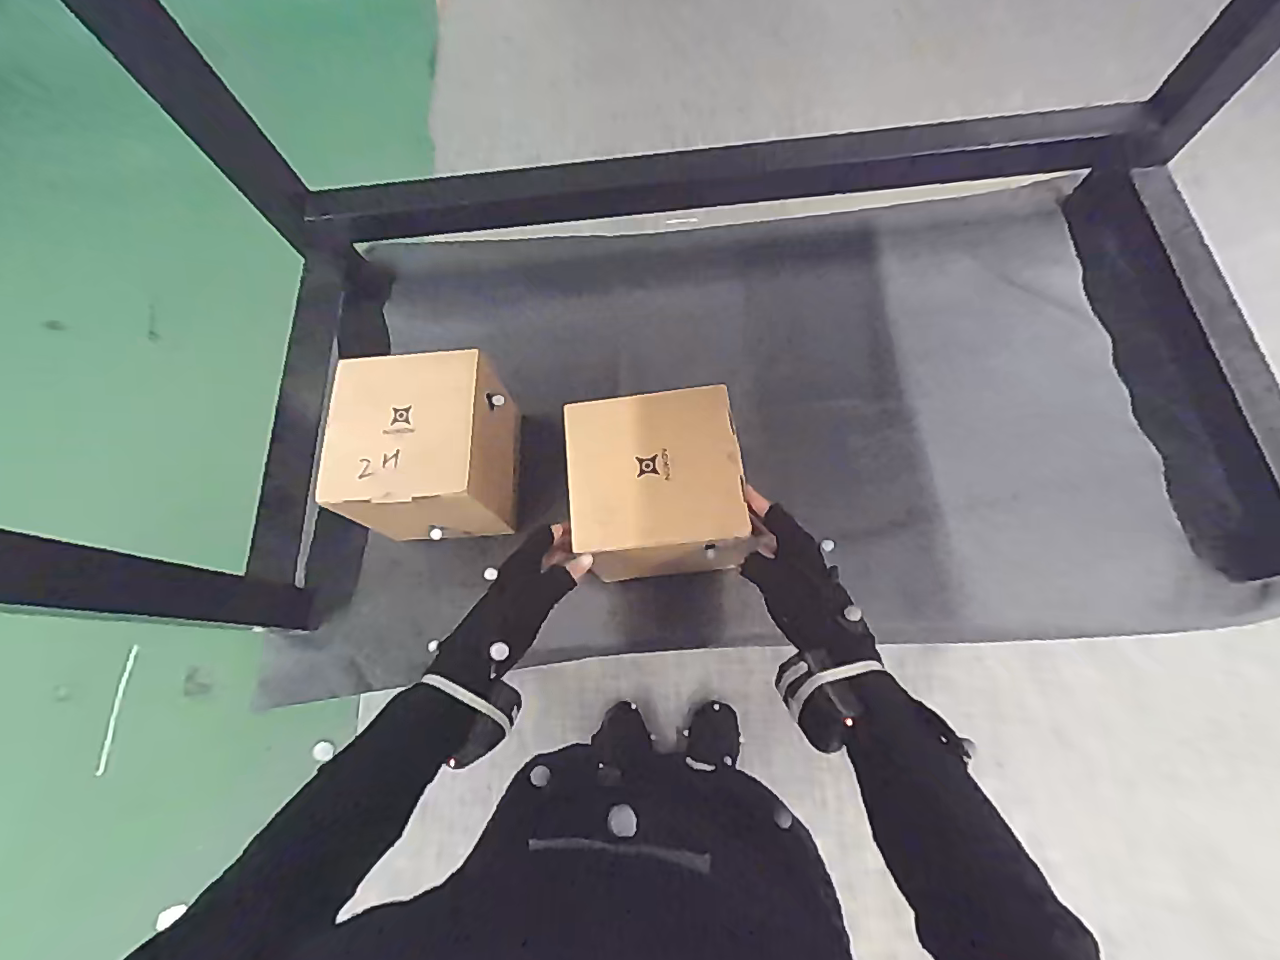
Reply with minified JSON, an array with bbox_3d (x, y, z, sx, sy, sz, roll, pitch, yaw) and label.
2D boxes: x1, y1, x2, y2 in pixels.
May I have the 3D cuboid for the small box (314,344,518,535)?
[{"bbox_3d":[-0.254,-0.041,0.660,0.168,0.176,0.179,-4,70,4],"label":"small box"}]
